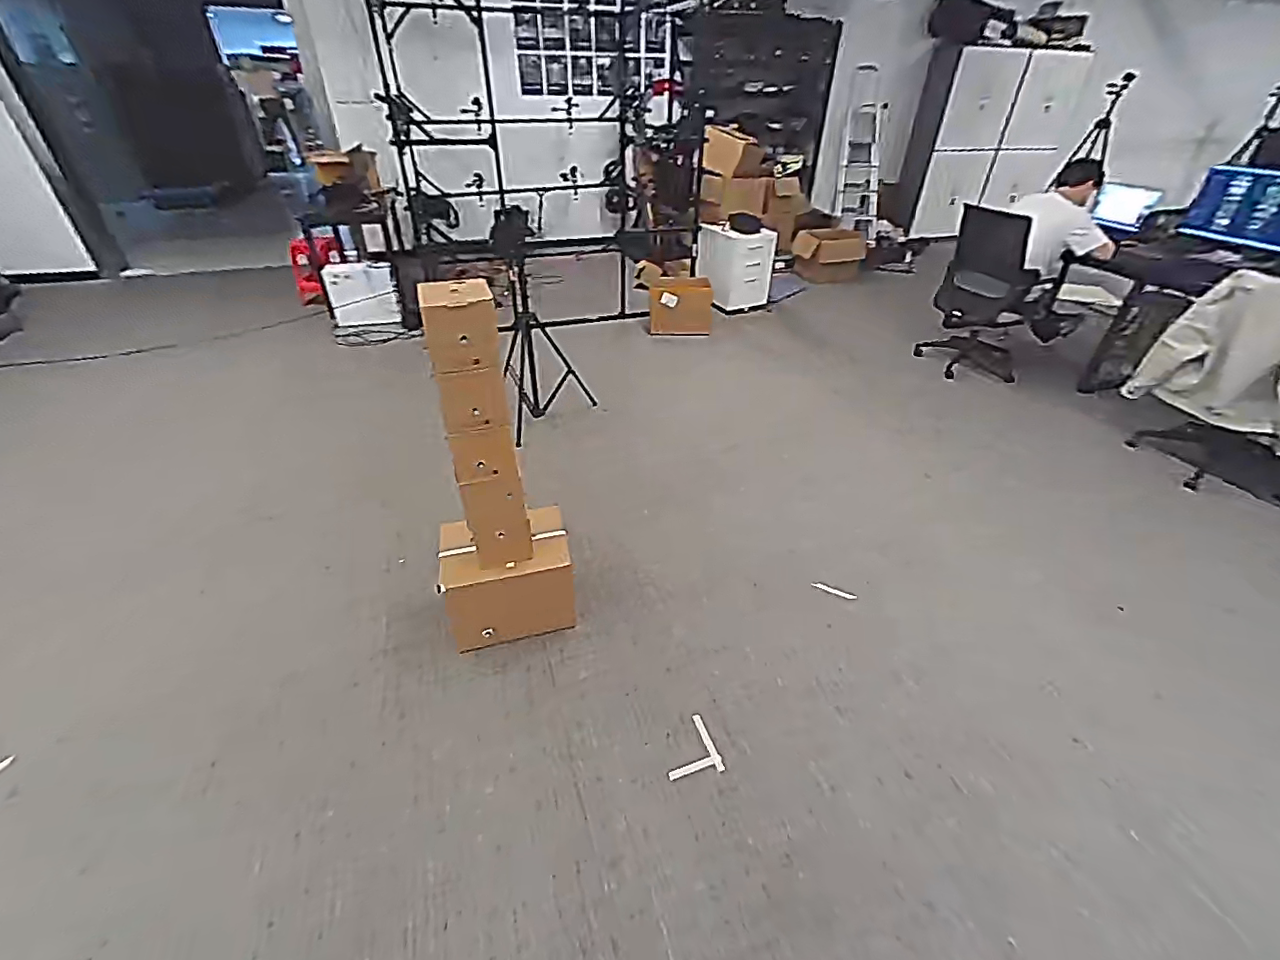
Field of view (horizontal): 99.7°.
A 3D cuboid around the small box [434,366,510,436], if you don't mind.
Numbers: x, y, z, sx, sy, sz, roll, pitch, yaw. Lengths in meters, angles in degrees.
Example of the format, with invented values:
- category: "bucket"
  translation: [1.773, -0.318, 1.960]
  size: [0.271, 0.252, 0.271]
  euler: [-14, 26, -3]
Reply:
- category: "small box"
  translation: [-0.448, -0.238, 1.437]
  size: [0.168, 0.176, 0.179]
  euler: [-12, 39, -16]

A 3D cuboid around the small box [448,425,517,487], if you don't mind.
- category: "small box"
  translation: [-0.448, -0.104, 1.533]
  size: [0.168, 0.176, 0.179]
  euler: [-11, 39, -15]

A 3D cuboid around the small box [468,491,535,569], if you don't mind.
- category: "small box"
  translation: [-0.440, 0.163, 1.721]
  size: [0.179, 0.176, 0.168]
  euler: [-10, 39, -16]

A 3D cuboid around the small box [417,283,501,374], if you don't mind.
- category: "small box"
  translation: [-0.447, -0.373, 1.343]
  size: [0.168, 0.176, 0.179]
  euler: [-12, 40, -17]
